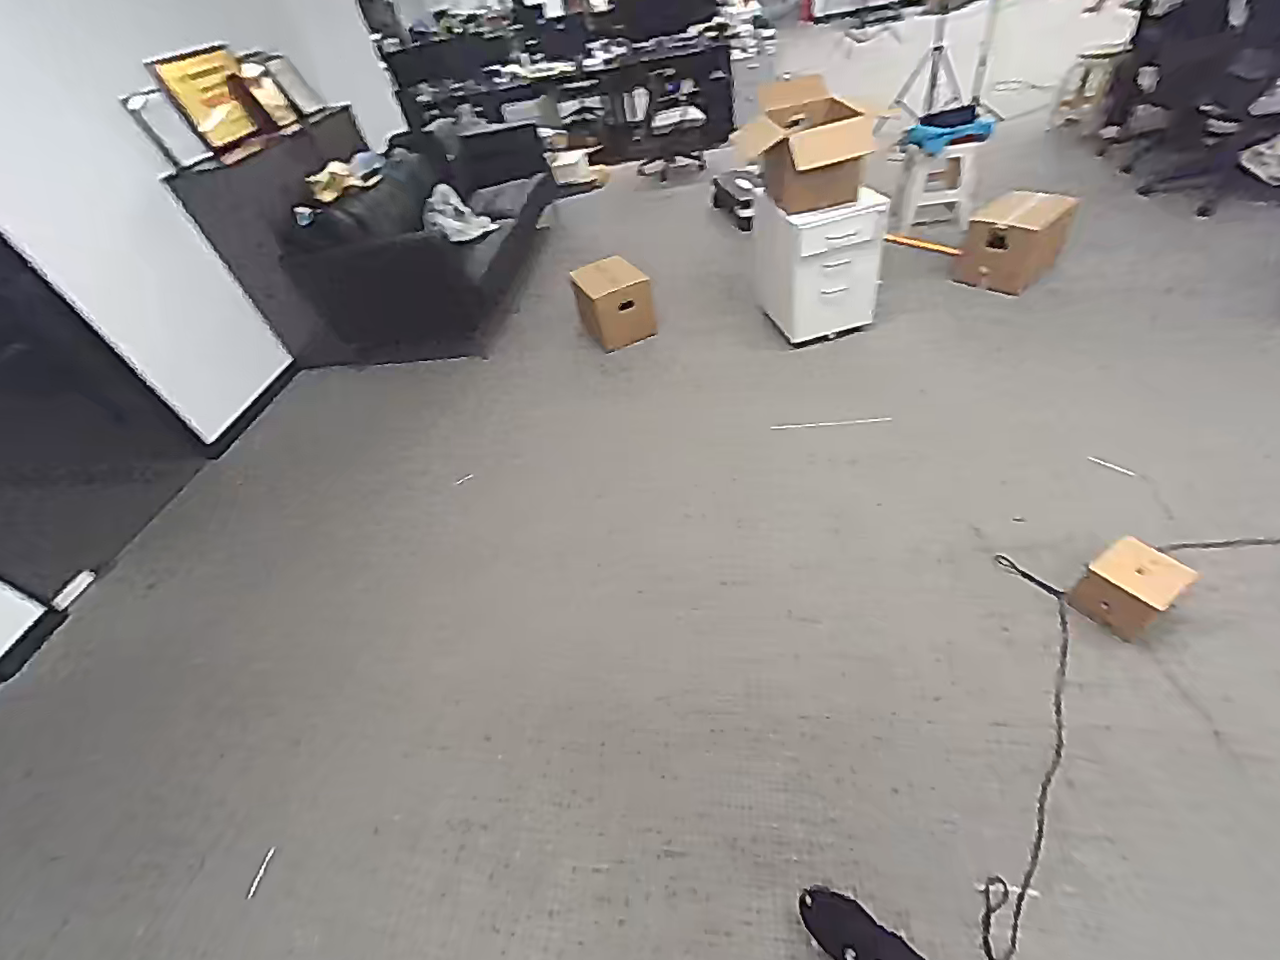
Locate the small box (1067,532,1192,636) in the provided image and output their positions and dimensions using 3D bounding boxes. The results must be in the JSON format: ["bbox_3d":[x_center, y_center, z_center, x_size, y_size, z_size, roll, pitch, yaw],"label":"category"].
[{"bbox_3d":[1.278,0.278,1.429,0.179,0.176,0.168,-30,46,-16],"label":"small box"}]
